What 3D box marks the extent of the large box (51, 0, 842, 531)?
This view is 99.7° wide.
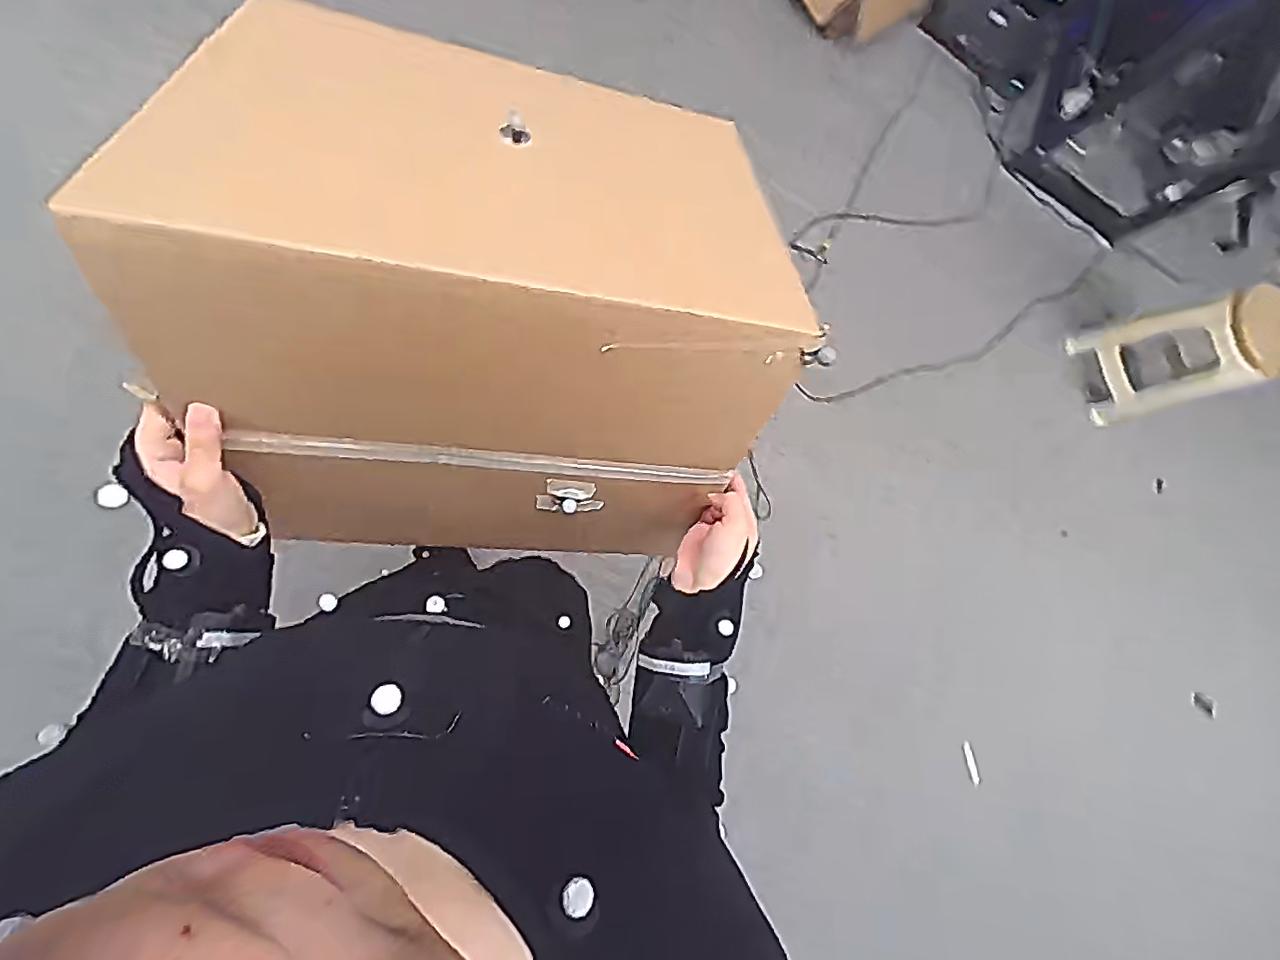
[{"bbox_3d":[-0.118,-0.163,0.482,0.408,0.320,0.320,3,56,-15],"label":"large box"}]
